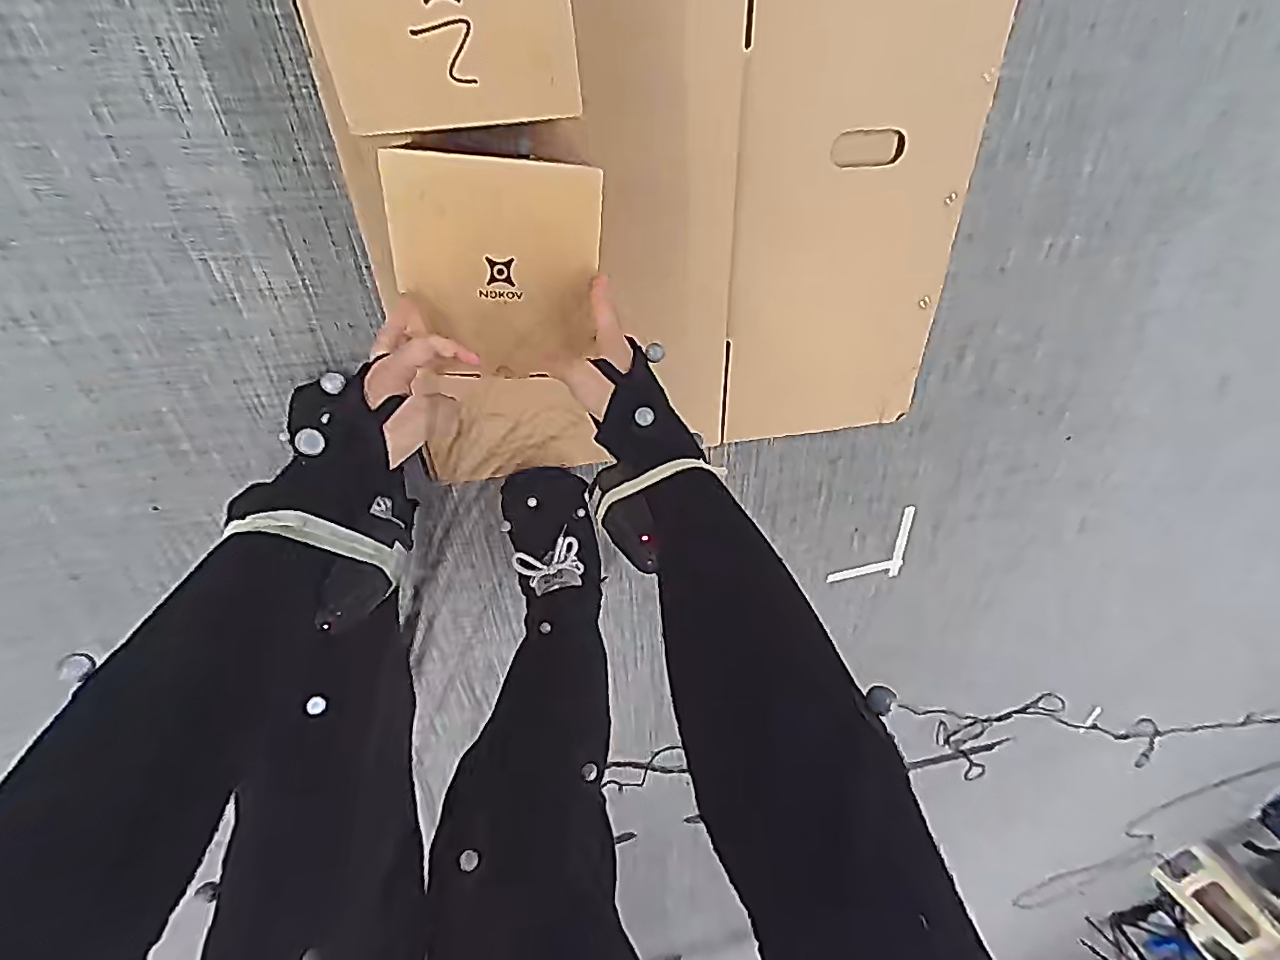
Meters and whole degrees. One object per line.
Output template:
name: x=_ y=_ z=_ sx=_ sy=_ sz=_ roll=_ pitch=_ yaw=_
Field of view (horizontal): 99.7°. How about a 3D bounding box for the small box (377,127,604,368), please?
small box: x=-0.132 y=-0.219 z=0.504 sx=0.168 sy=0.176 sz=0.179 roll=-2 pitch=125 yaw=-13
